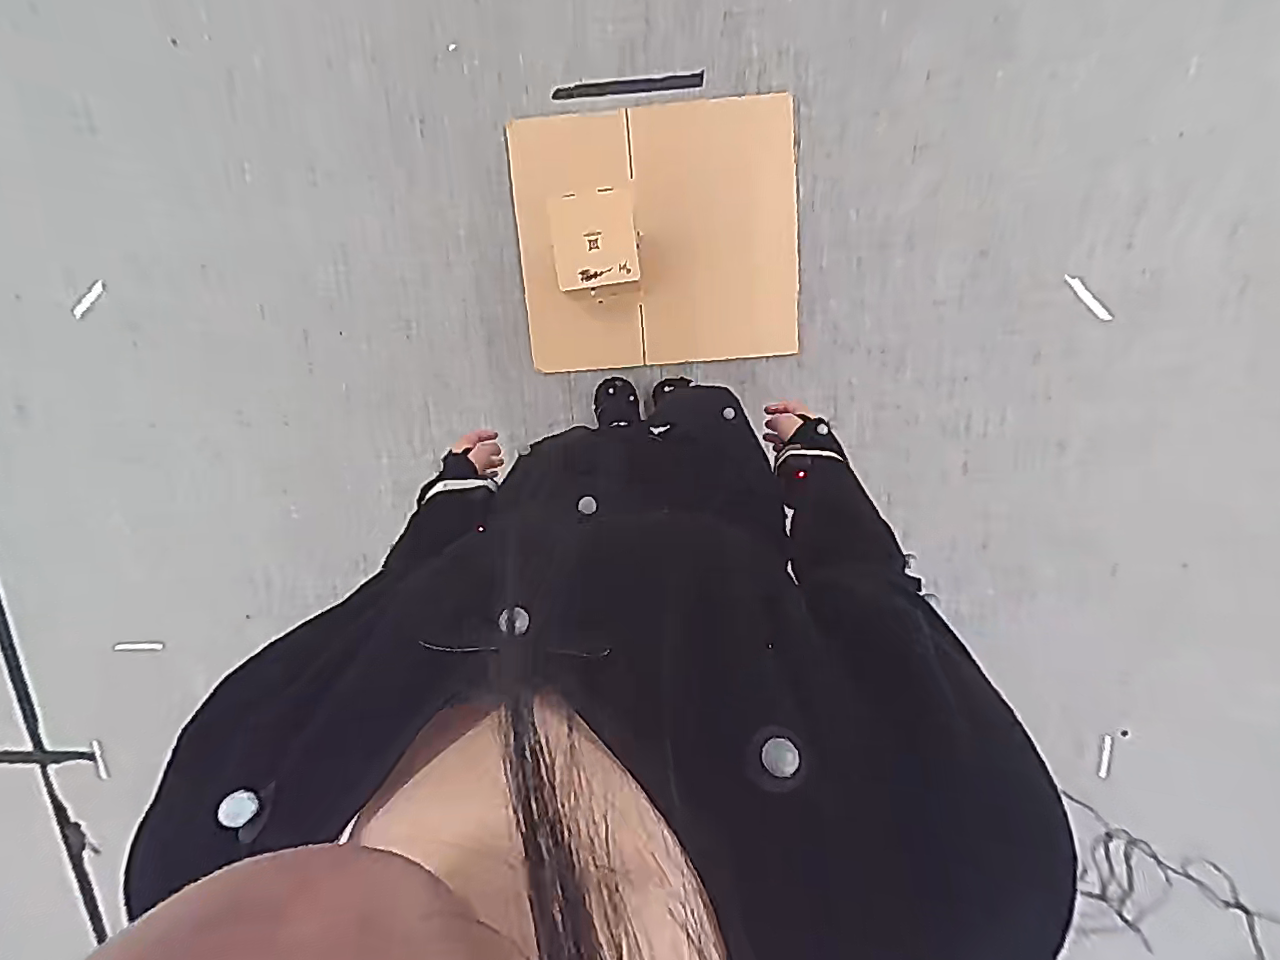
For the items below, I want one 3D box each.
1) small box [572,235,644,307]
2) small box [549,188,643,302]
[{"bbox_3d":[-0.080,-0.514,1.295,0.168,0.176,0.179,-6,102,3],"label":"small box"},{"bbox_3d":[-0.086,-0.483,1.134,0.168,0.176,0.179,-7,101,4],"label":"small box"}]
